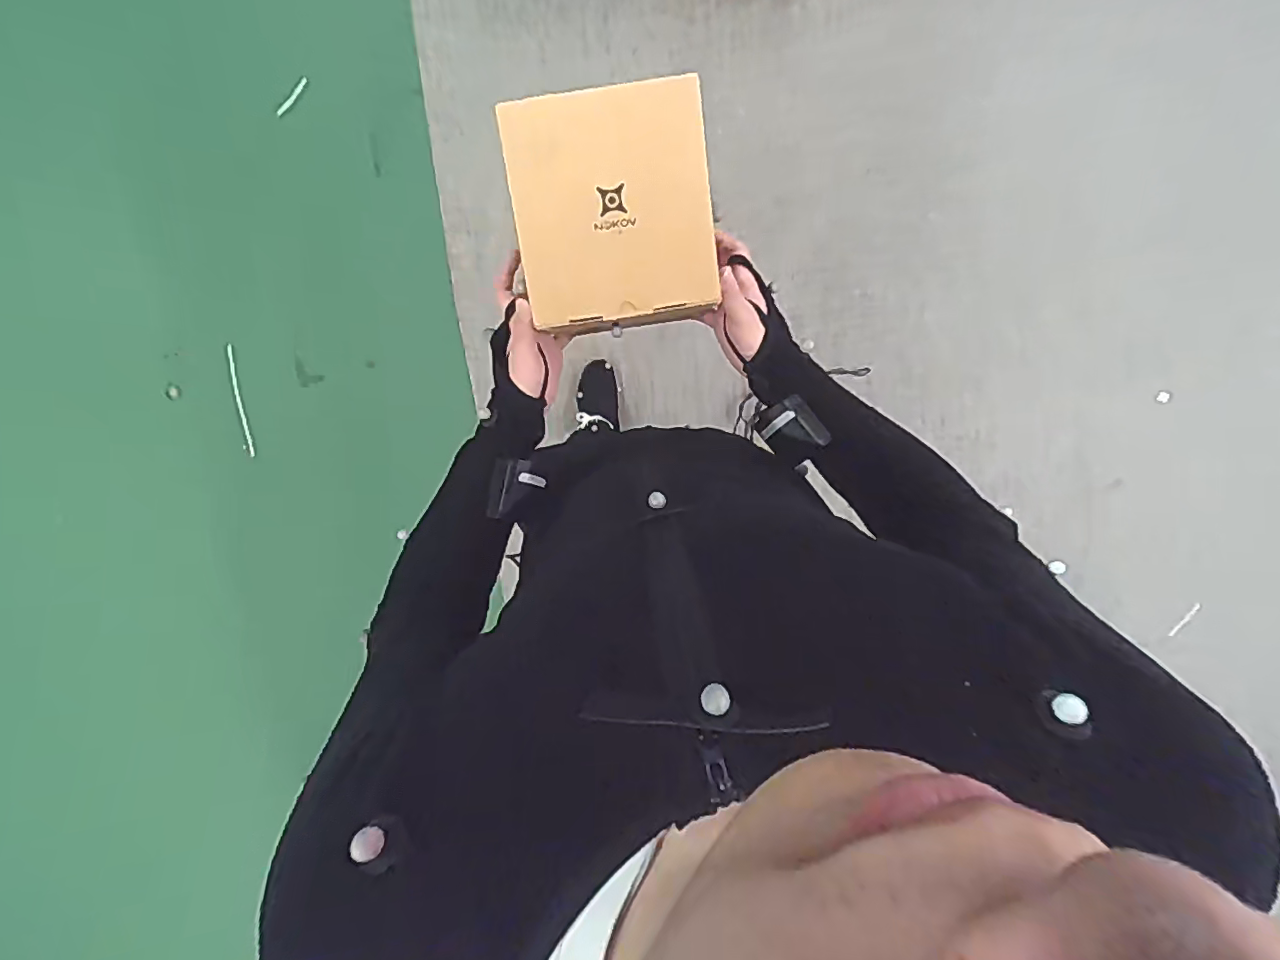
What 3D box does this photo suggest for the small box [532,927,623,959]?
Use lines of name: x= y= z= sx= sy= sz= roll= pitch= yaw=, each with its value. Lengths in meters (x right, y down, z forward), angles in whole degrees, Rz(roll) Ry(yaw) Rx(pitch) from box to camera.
small box: x=-0.107 y=0.960 z=0.968 sx=0.168 sy=0.176 sz=0.179 roll=-9 pitch=100 yaw=-1

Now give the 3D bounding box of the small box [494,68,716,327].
small box: x=-0.028 y=-0.249 z=0.521 sx=0.168 sy=0.176 sz=0.179 roll=-8 pitch=104 yaw=1
